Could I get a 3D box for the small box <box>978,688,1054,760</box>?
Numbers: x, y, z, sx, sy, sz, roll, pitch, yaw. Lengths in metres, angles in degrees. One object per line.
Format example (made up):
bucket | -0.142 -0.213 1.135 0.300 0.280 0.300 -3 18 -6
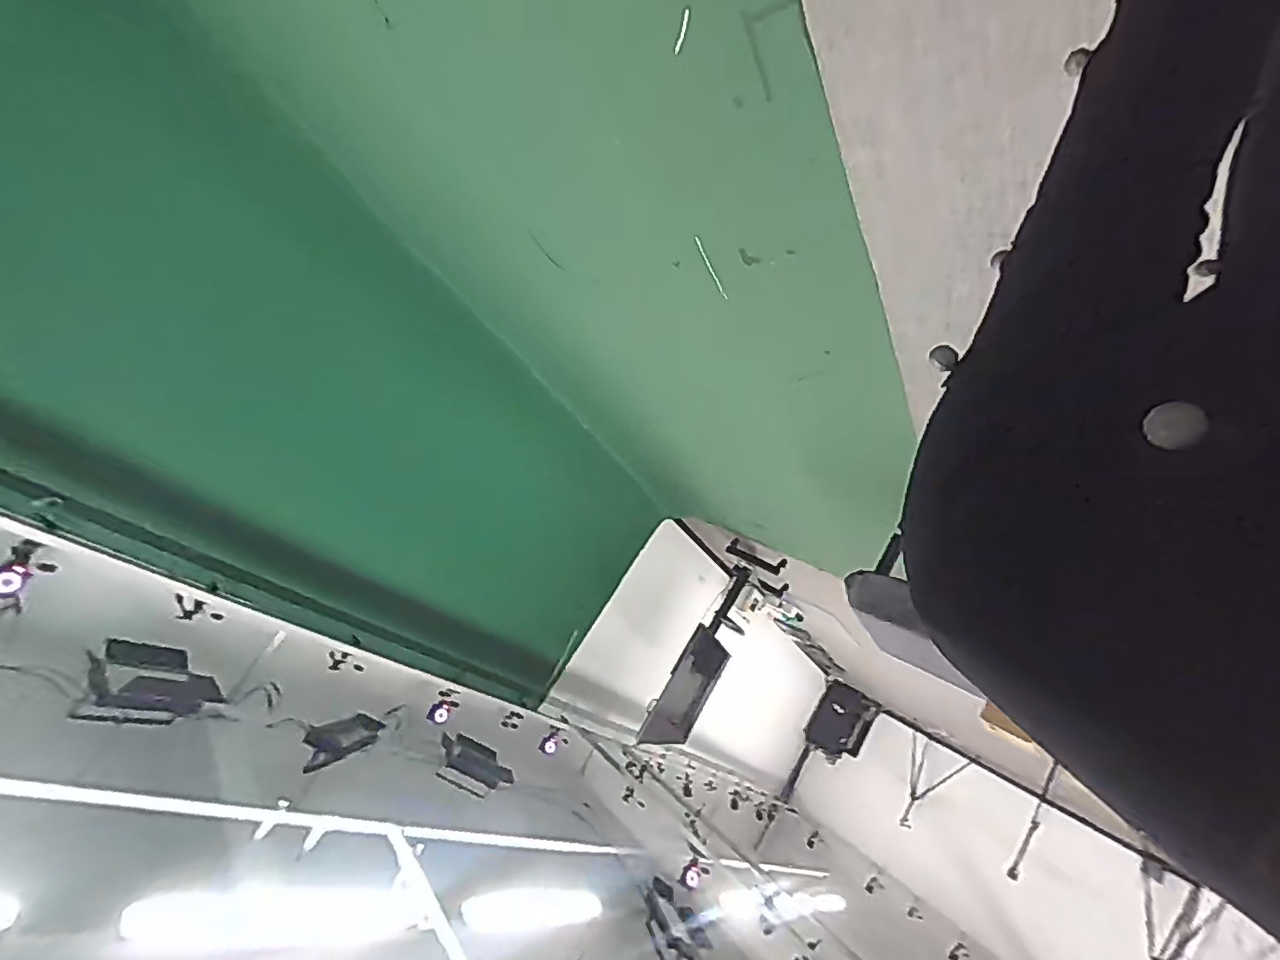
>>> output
small box | 1.404 0.900 2.018 0.179 0.176 0.168 20 161 50
